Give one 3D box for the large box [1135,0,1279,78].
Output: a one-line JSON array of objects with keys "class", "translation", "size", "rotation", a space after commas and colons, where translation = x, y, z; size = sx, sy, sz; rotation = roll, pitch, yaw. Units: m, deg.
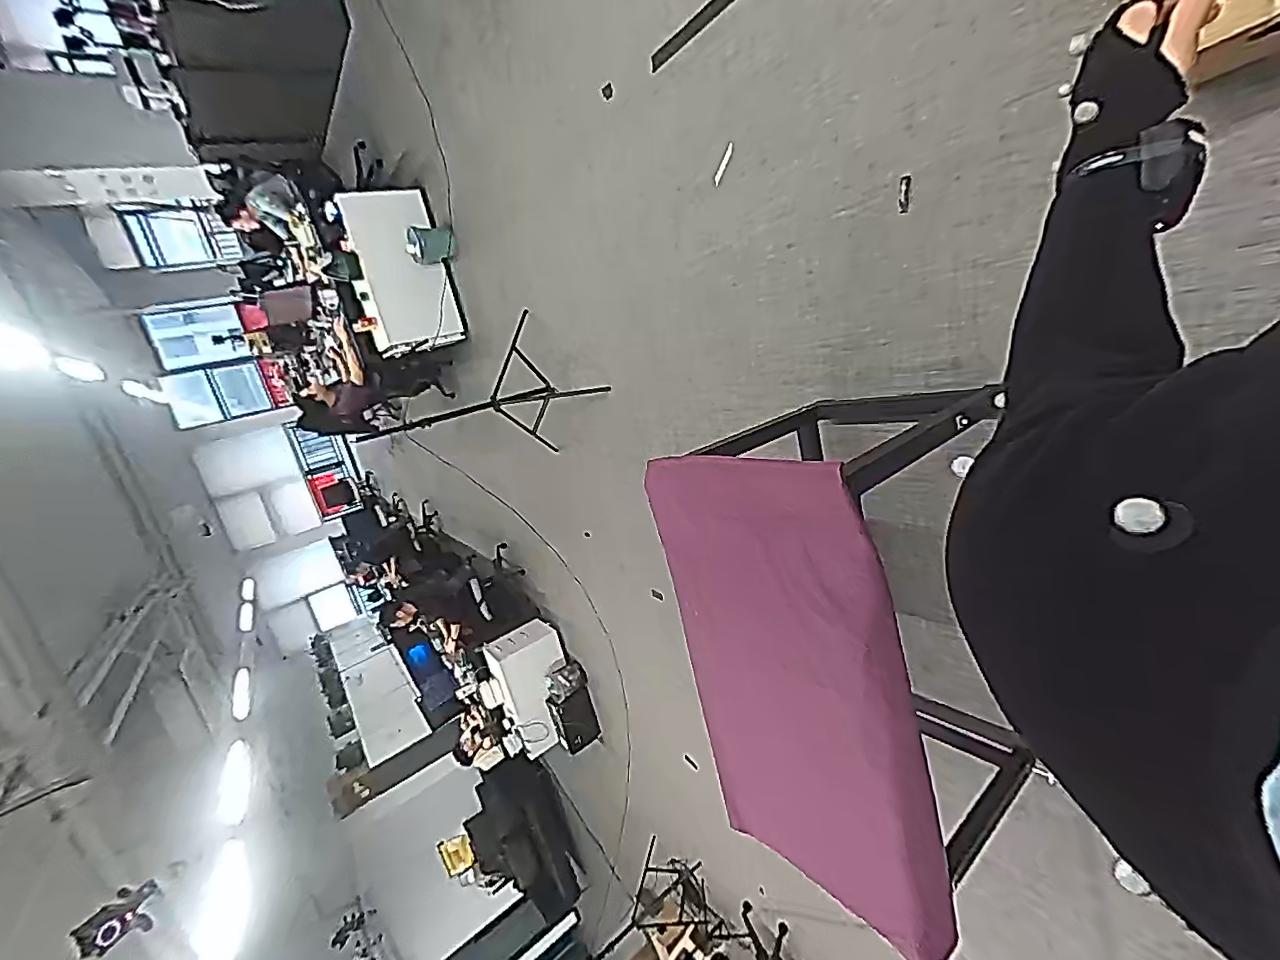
[{"class": "large box", "translation": [0.895, -0.843, 0.719], "size": [0.320, 0.320, 0.408], "rotation": [1, 112, 57]}]
